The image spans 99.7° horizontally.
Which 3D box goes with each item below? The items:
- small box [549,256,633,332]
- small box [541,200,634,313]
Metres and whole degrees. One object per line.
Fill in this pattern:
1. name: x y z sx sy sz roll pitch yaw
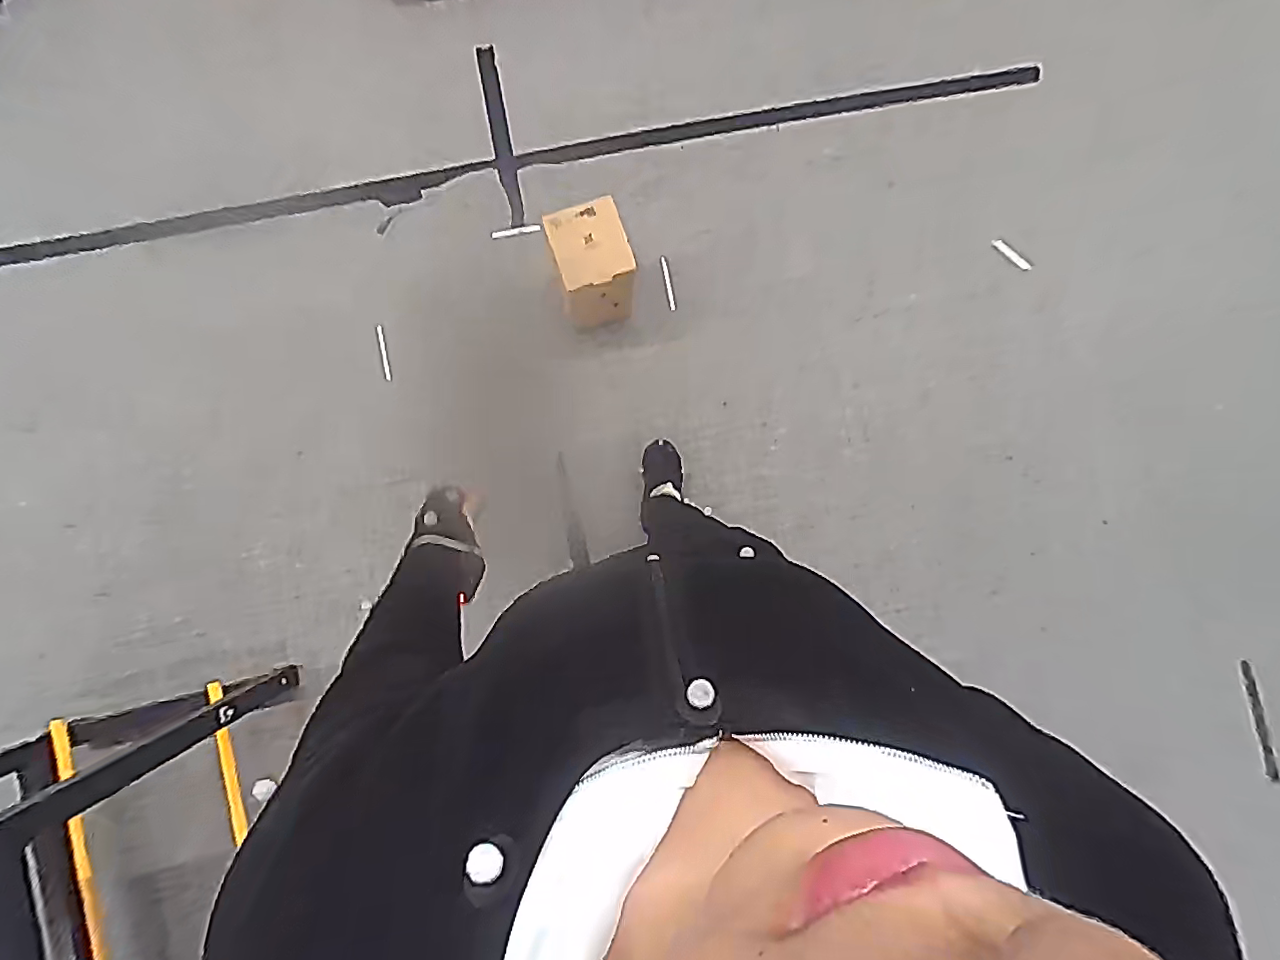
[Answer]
1. small box: -0.127 -0.510 1.424 0.179 0.176 0.168 -18 89 -4
2. small box: -0.118 -0.507 1.261 0.168 0.176 0.179 -19 90 -4
